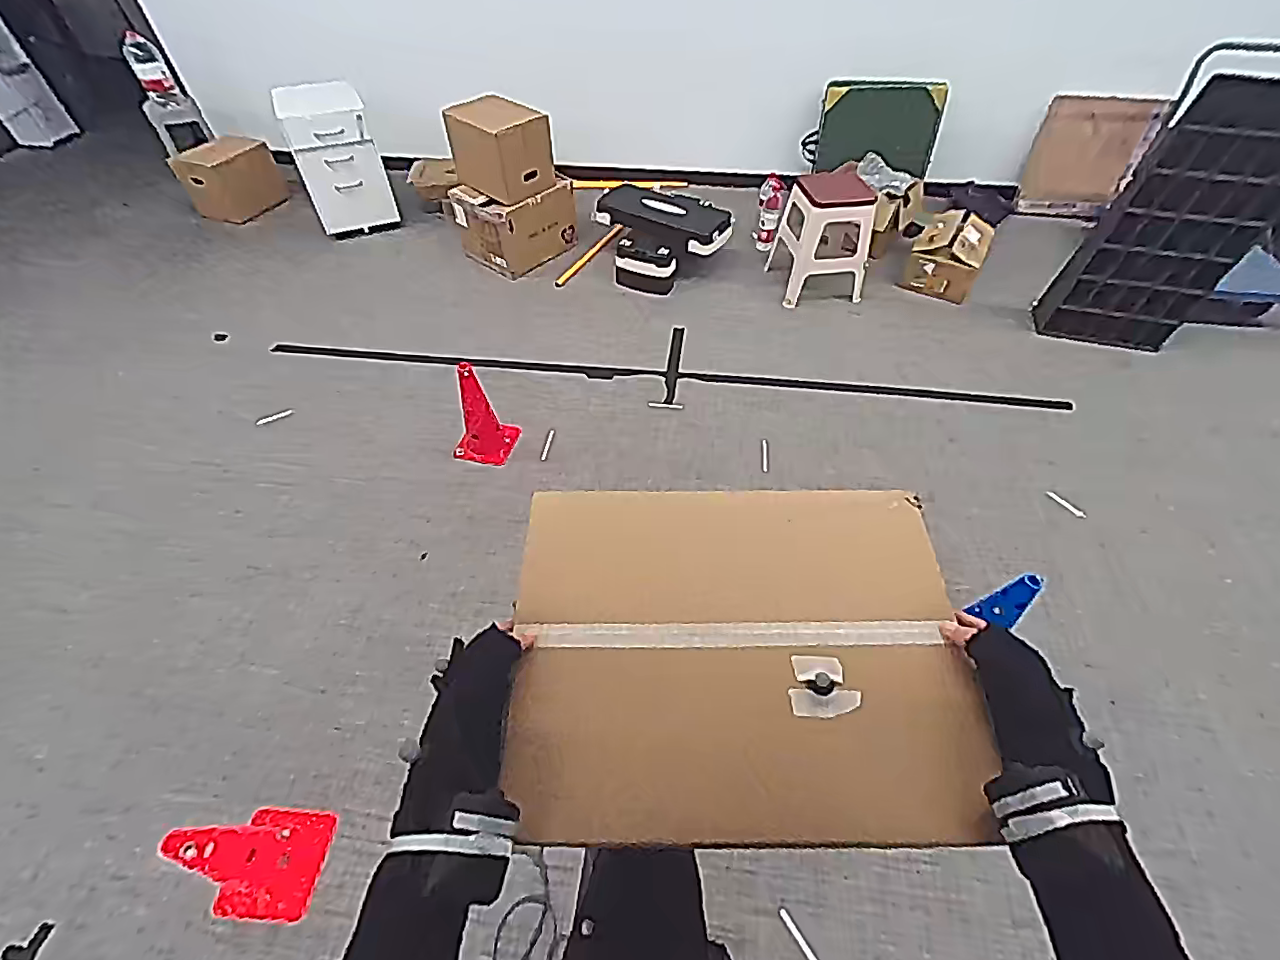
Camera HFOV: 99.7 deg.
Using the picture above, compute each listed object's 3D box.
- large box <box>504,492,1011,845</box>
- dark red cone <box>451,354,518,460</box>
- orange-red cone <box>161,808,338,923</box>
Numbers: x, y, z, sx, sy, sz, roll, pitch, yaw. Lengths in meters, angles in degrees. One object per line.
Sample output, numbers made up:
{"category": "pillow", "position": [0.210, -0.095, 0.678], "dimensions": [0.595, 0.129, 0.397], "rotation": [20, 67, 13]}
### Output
{"category": "large box", "position": [0.088, 0.226, 0.622], "dimensions": [0.408, 0.320, 0.320], "rotation": [0, 56, 0]}
{"category": "dark red cone", "position": [-0.565, -0.261, 1.859], "dimensions": [0.201, 0.394, 0.202], "rotation": [11, 51, 7]}
{"category": "orange-red cone", "position": [-0.794, 0.738, 1.058], "dimensions": [0.198, 0.360, 0.199], "rotation": [3, 52, 4]}
